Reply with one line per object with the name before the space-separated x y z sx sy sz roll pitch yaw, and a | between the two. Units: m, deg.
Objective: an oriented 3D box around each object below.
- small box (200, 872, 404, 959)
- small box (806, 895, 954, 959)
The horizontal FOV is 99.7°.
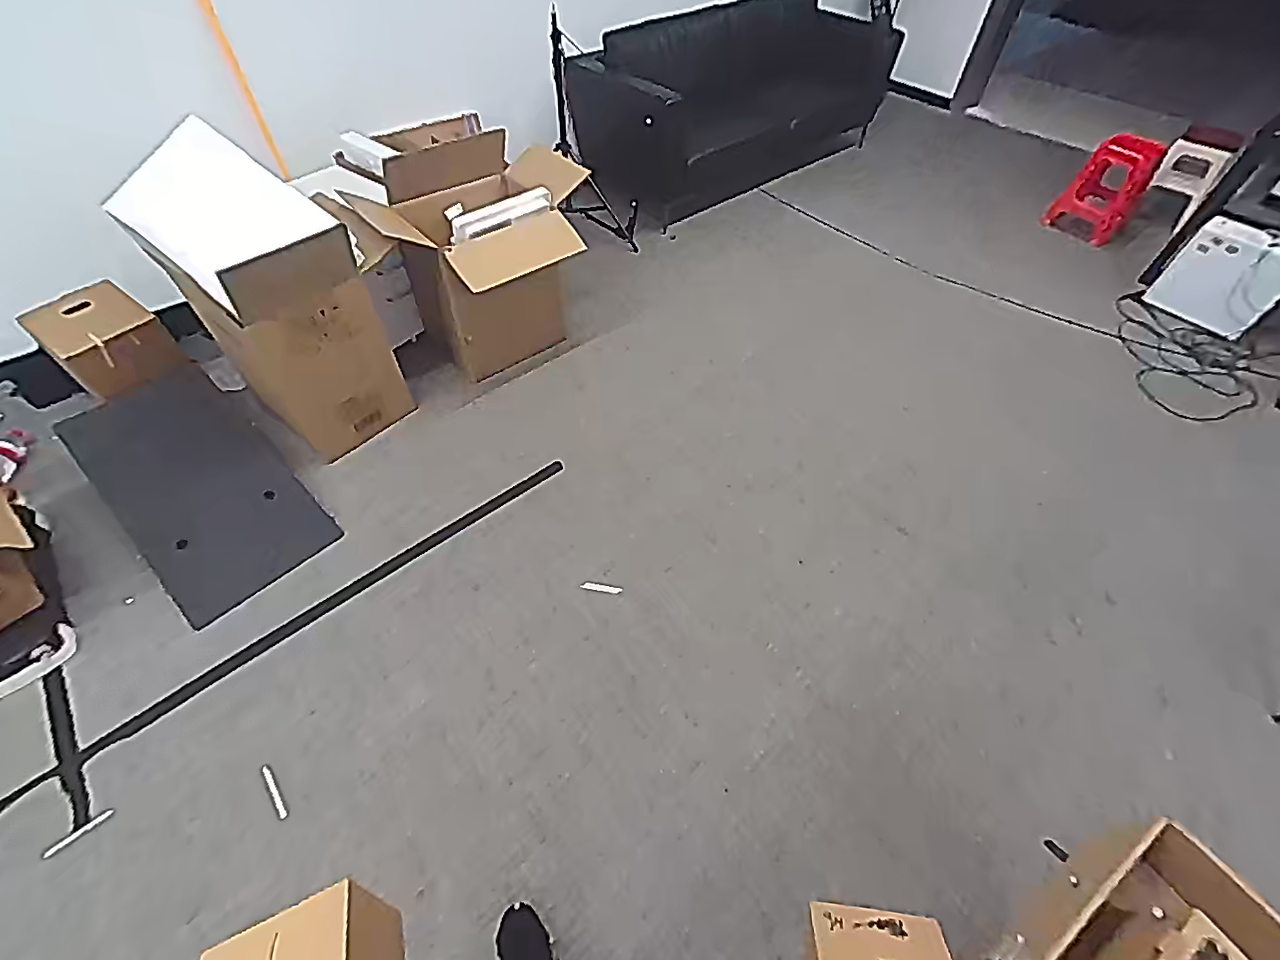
small box | -0.384 0.612 0.629 0.168 0.176 0.179 -21 40 -15
small box | 0.297 0.667 0.659 0.168 0.176 0.179 2 13 10
